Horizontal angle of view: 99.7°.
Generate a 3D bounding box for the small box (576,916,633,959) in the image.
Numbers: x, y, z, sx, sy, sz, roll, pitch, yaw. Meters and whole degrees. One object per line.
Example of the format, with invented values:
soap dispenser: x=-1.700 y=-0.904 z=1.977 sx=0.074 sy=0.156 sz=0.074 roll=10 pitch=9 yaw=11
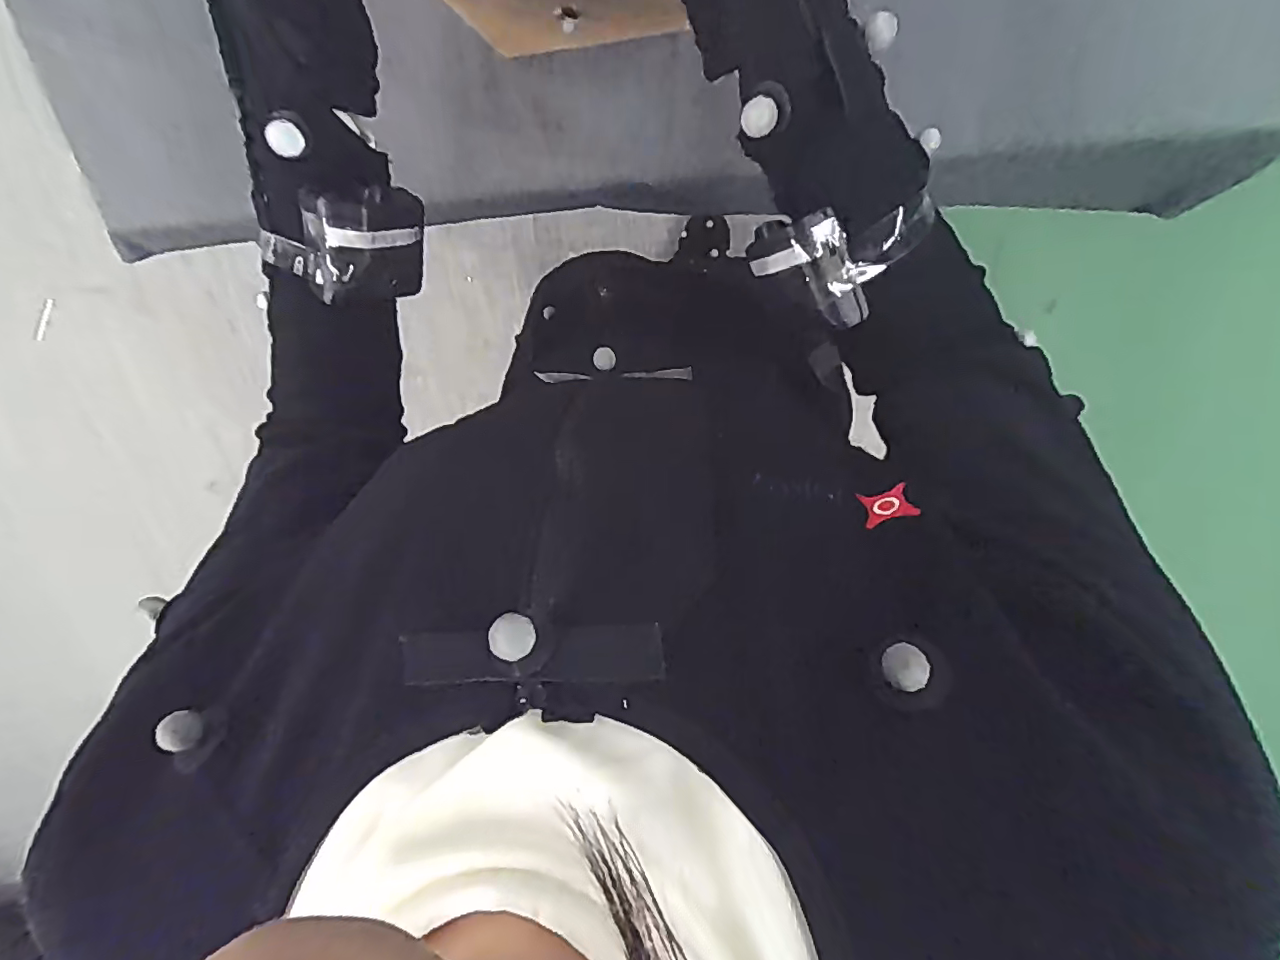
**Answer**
small box: x=-0.122 y=1.669 z=1.896 sx=0.179 sy=0.176 sz=0.168 roll=-5 pitch=114 yaw=8
